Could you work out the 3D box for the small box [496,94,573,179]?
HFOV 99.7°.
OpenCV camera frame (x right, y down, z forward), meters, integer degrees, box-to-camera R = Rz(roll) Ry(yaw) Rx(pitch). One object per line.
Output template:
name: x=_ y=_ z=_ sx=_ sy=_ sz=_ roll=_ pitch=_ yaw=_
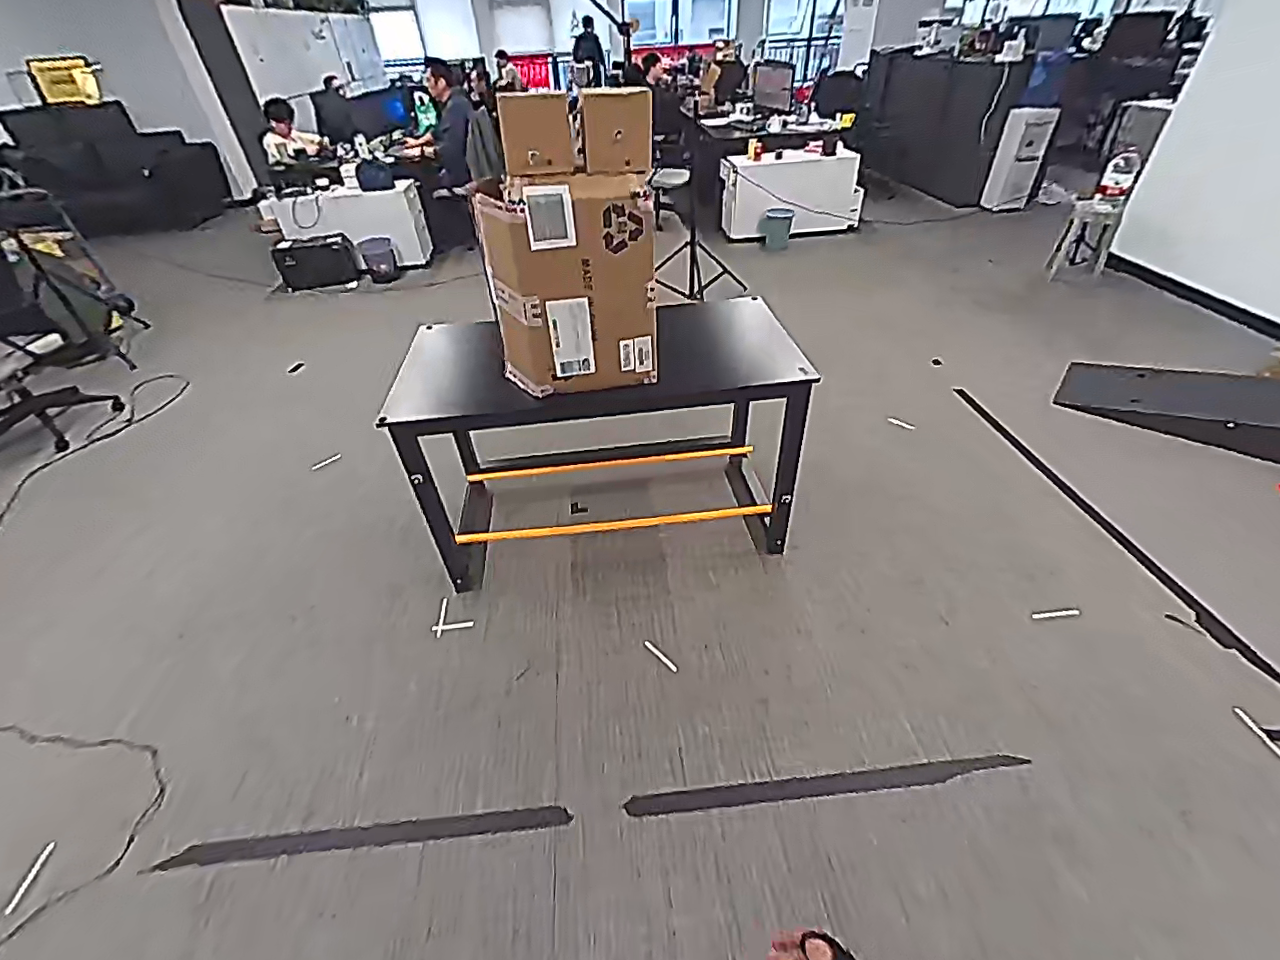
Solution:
small box: x=-0.268 y=-0.872 z=1.373 sx=0.168 sy=0.176 sz=0.179 roll=-10 pitch=39 yaw=-9
